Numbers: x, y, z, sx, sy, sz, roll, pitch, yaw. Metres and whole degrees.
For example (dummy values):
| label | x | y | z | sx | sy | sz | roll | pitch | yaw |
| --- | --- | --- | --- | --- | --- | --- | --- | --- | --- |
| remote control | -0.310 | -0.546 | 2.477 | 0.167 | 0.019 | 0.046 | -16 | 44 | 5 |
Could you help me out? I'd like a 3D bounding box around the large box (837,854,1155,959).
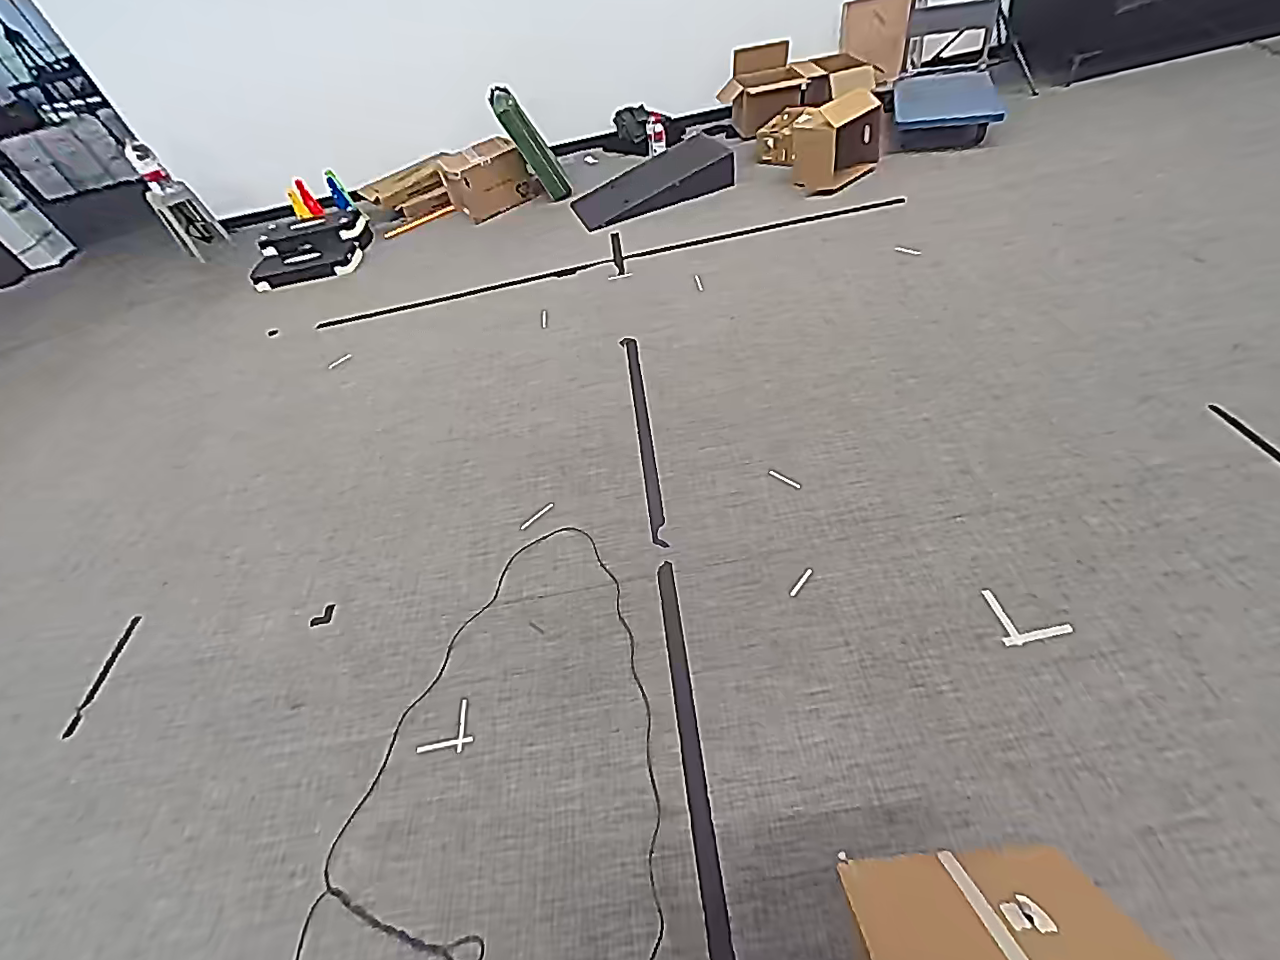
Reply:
| label | x | y | z | sx | sy | sz | roll | pitch | yaw |
| --- | --- | --- | --- | --- | --- | --- | --- | --- | --- |
| large box | 0.455 | 0.712 | 0.606 | 0.320 | 0.408 | 0.320 | -8 | 85 | 5 |
